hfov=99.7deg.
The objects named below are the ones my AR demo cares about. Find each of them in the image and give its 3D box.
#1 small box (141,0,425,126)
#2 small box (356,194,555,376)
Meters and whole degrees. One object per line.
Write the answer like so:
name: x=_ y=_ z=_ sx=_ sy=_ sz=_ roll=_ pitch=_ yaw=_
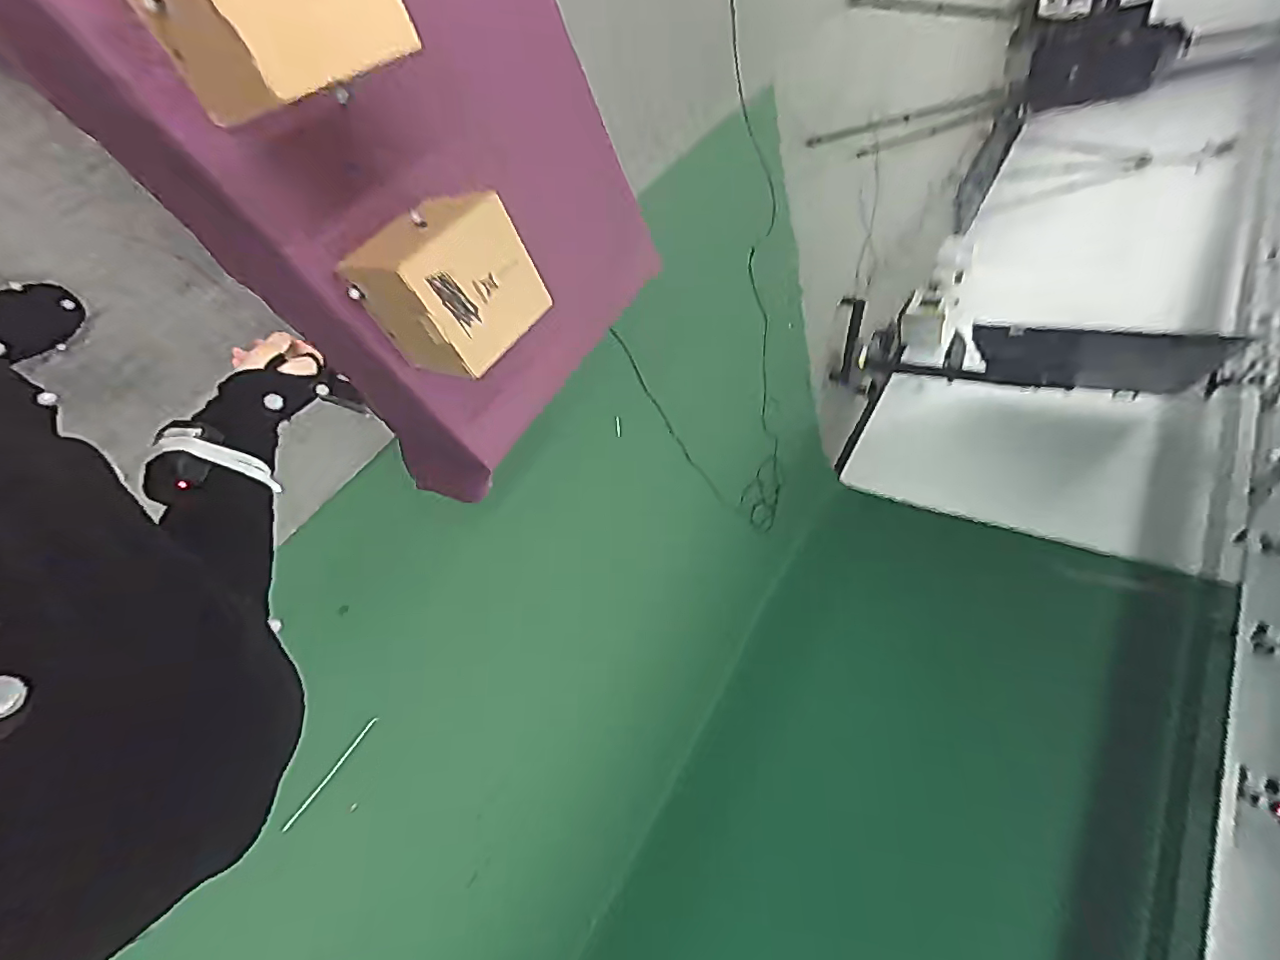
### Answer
small box: x=-0.363 y=-0.480 z=0.536 sx=0.179 sy=0.176 sz=0.168 roll=-49 pitch=138 yaw=-27
small box: x=-0.260 y=-0.269 z=0.754 sx=0.179 sy=0.176 sz=0.168 roll=-54 pitch=140 yaw=-25
